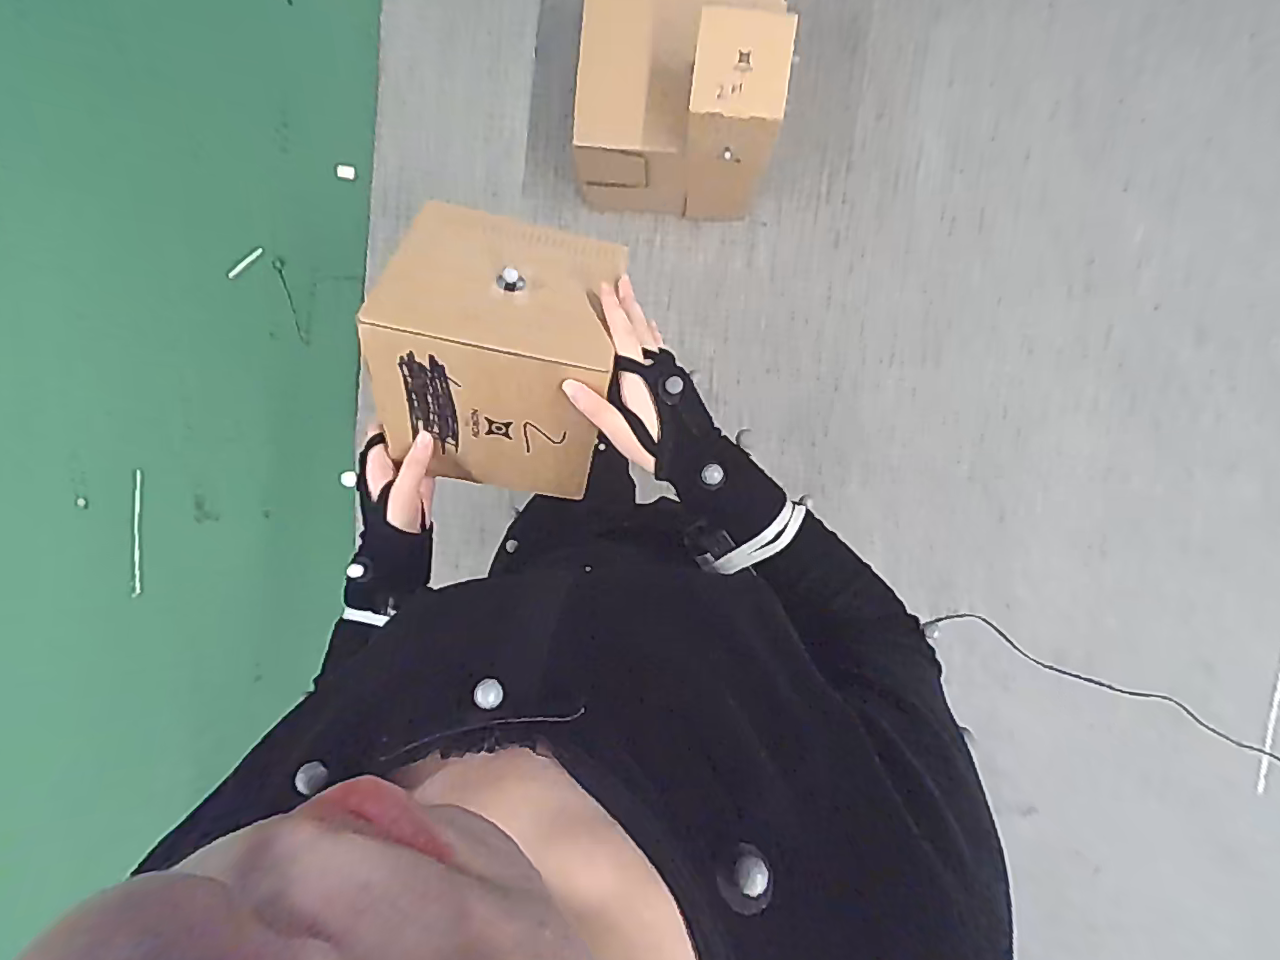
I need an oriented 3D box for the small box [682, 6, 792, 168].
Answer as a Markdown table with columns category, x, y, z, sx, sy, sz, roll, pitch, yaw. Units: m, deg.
| category | x | y | z | sx | sy | sz | roll | pitch | yaw |
| --- | --- | --- | --- | --- | --- | --- | --- | --- | --- |
| small box | 0.171 | -0.718 | 1.006 | 0.168 | 0.176 | 0.179 | 7 | 95 | 2 |
